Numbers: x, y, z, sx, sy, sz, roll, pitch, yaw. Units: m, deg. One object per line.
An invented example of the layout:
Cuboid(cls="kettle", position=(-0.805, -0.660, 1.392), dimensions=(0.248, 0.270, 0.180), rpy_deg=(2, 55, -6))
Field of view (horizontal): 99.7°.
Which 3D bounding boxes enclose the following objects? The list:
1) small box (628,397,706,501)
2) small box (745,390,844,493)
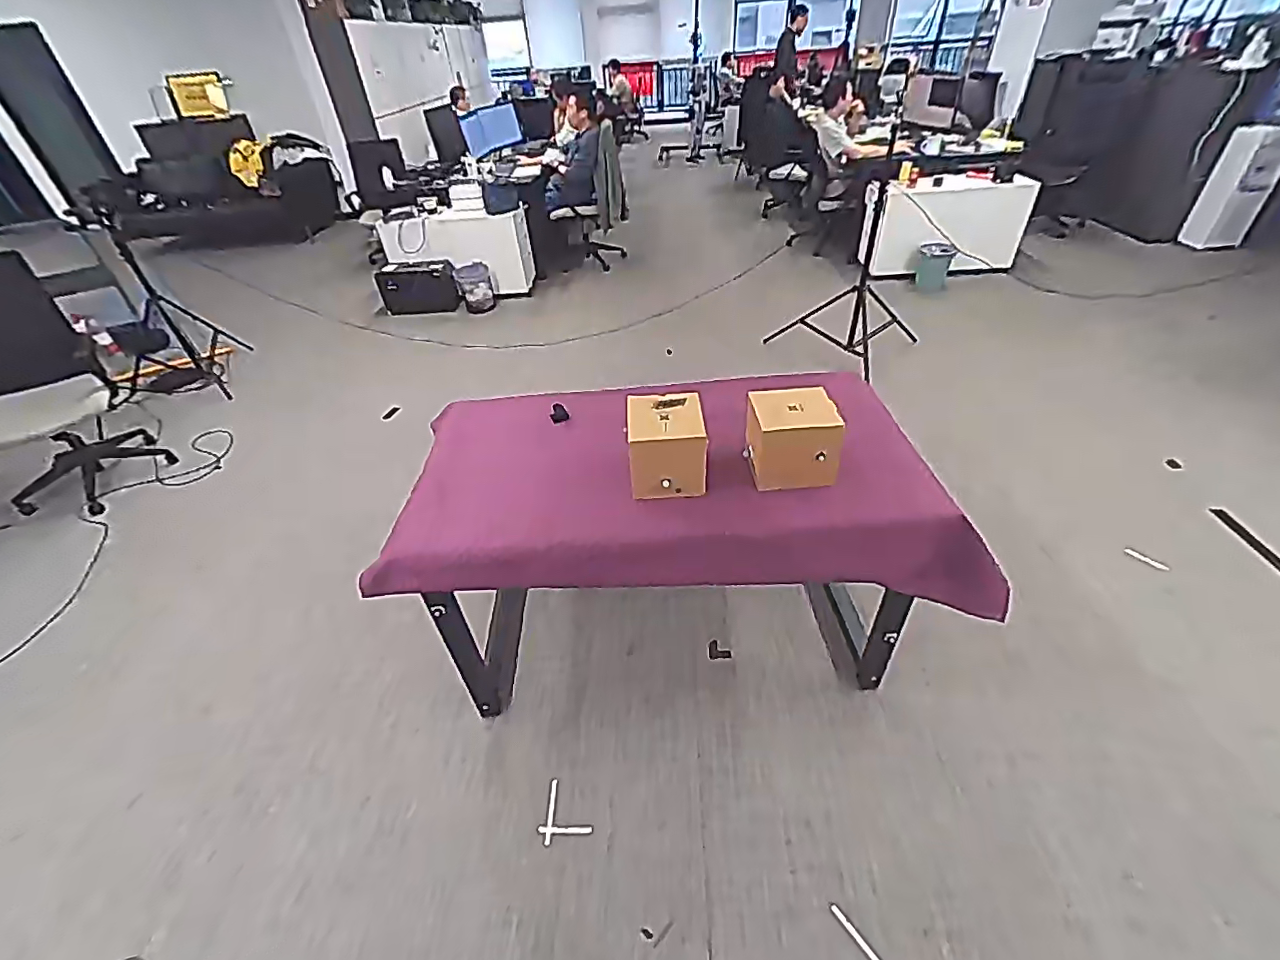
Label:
Cuboid(cls="small box", position=(0.060, -0.071, 1.242), dimensions=(0.168, 0.176, 0.179), rpy_deg=(-4, 39, 2))
Cuboid(cls="small box", position=(0.343, -0.087, 1.236), dimensions=(0.179, 0.176, 0.168), rpy_deg=(-6, 37, 1))
